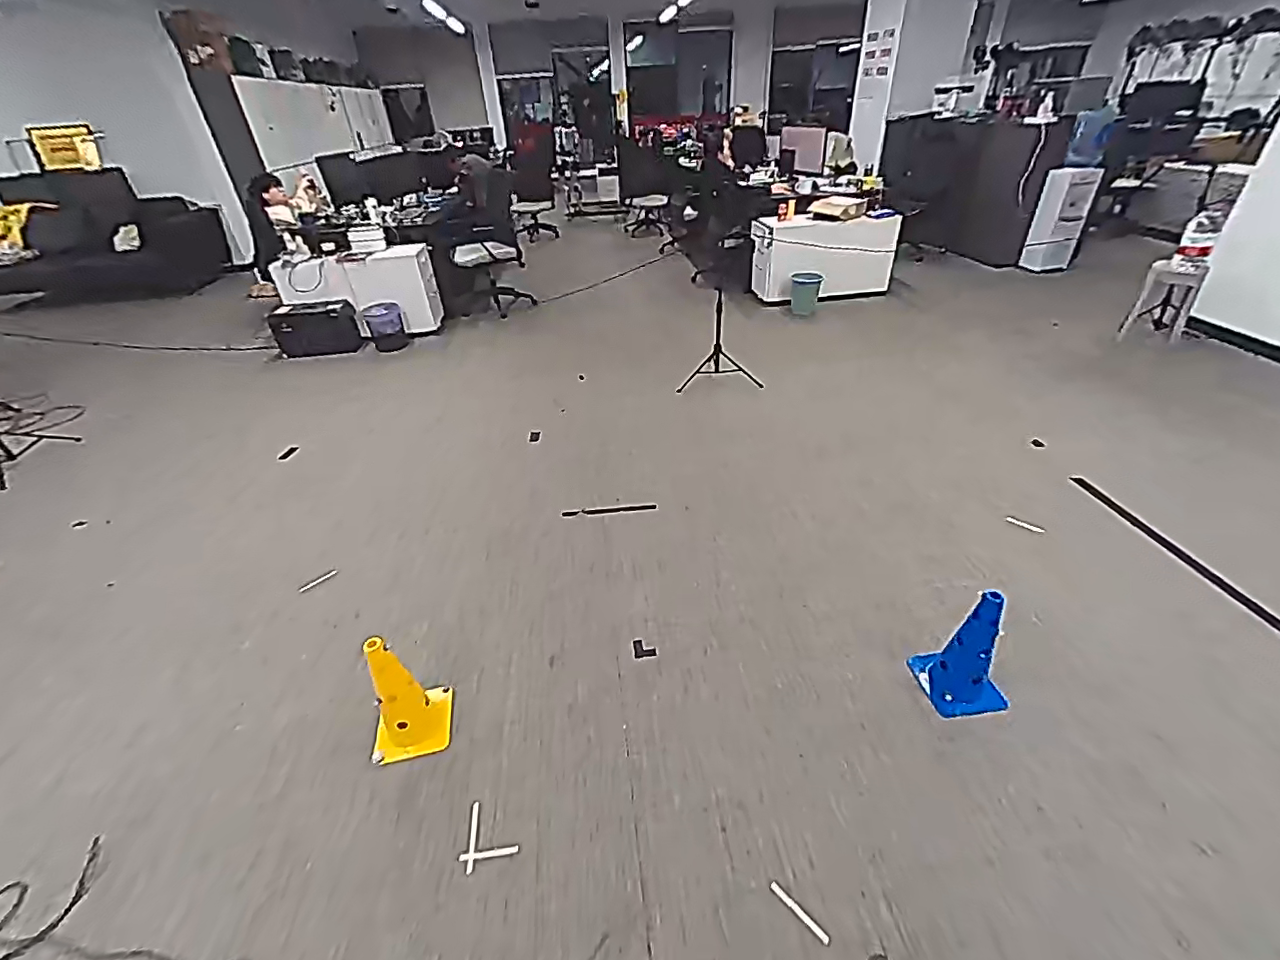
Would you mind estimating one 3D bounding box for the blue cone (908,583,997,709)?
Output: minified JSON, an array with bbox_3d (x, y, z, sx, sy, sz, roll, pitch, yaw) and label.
[{"bbox_3d":[0.887,0.432,1.461,0.193,0.380,0.192,-5,34,-3],"label":"blue cone"}]
